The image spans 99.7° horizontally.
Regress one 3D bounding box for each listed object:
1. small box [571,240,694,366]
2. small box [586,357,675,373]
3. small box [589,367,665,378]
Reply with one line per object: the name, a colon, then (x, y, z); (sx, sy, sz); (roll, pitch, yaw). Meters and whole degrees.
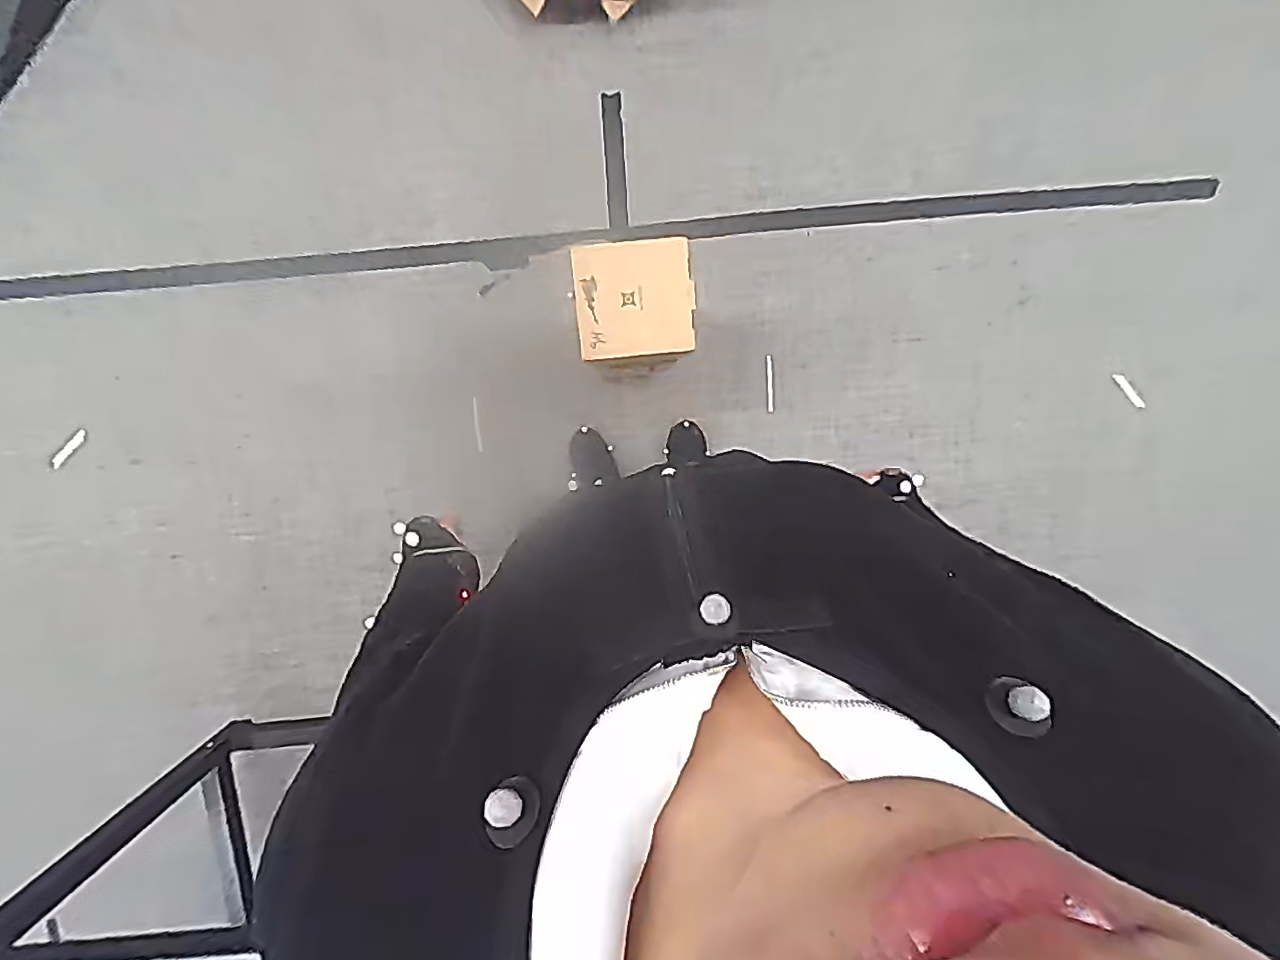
small box: (-0.017, -0.280, 0.881); (0.179, 0.176, 0.168); (-5, 98, -4)
small box: (-0.026, -0.301, 1.045); (0.168, 0.176, 0.179); (-5, 98, -3)
small box: (-0.036, -0.322, 1.205); (0.168, 0.176, 0.179); (-4, 99, -2)
